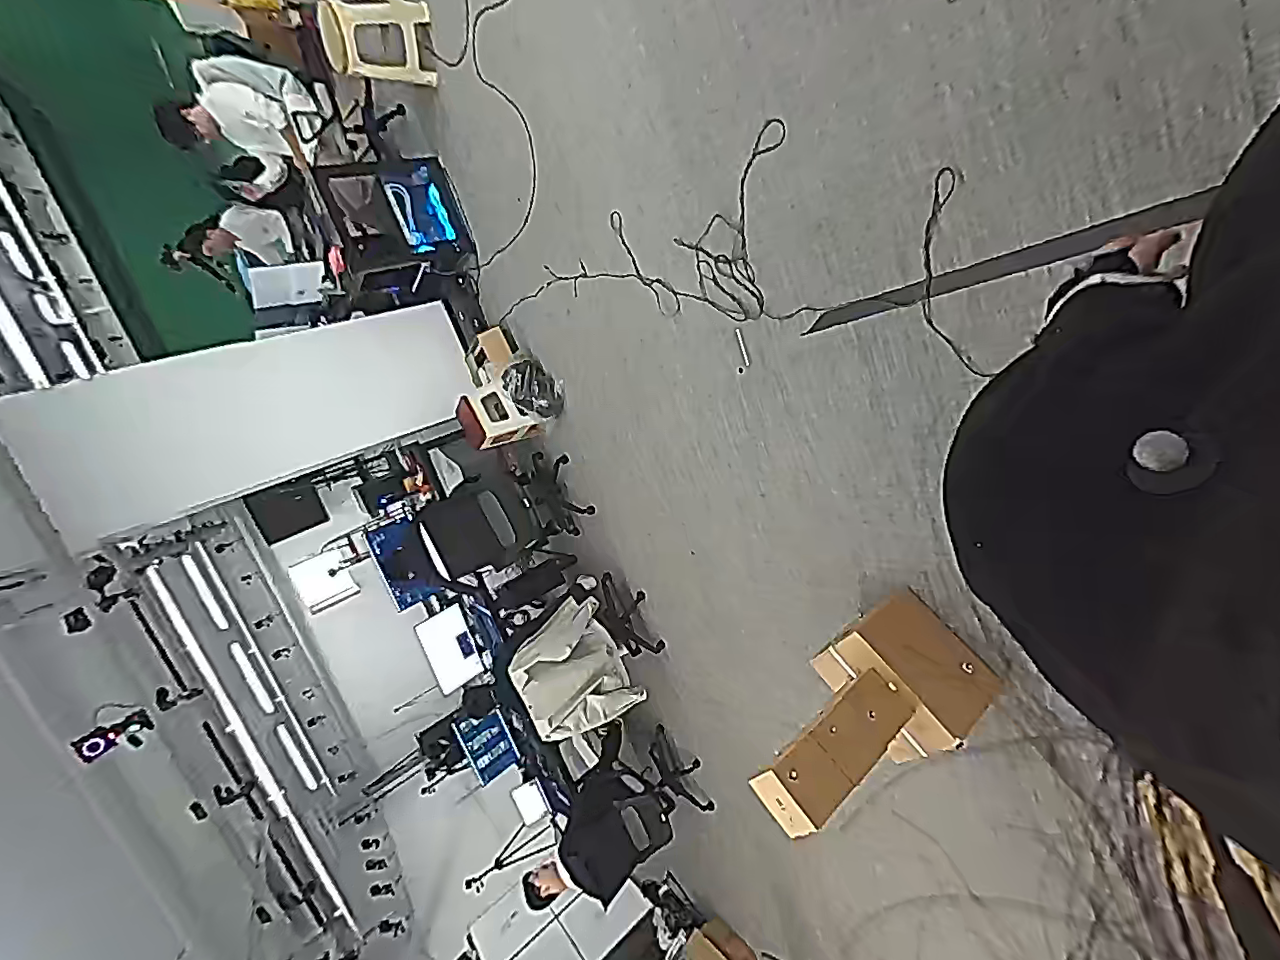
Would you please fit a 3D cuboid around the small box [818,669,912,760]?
[{"bbox_3d":[0.696,0.722,1.670,0.179,0.176,0.168,50,145,24],"label":"small box"}]

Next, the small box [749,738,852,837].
[{"bbox_3d":[0.443,0.844,1.498,0.179,0.176,0.168,49,146,23],"label":"small box"}]
